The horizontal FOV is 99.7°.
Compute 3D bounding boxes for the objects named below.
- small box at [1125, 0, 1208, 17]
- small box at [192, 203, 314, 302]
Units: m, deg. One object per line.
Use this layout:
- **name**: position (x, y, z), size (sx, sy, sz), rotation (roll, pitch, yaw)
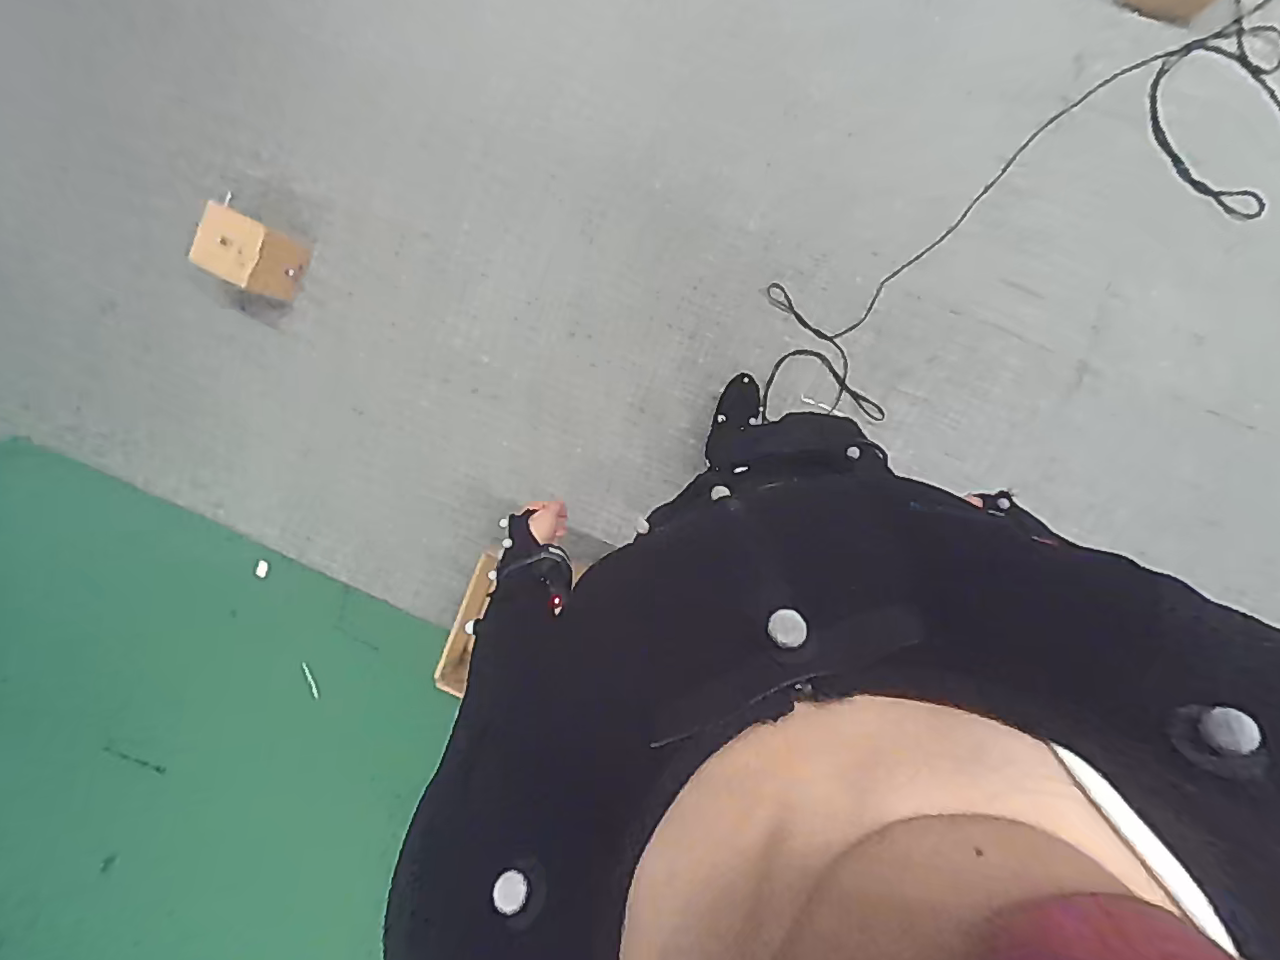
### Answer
- **small box**: position (1.191, -1.145, 1.151), size (0.179, 0.176, 0.168), rotation (20, 98, 5)
- **small box**: position (-1.032, -0.599, 1.453), size (0.179, 0.176, 0.168), rotation (28, 99, 3)
